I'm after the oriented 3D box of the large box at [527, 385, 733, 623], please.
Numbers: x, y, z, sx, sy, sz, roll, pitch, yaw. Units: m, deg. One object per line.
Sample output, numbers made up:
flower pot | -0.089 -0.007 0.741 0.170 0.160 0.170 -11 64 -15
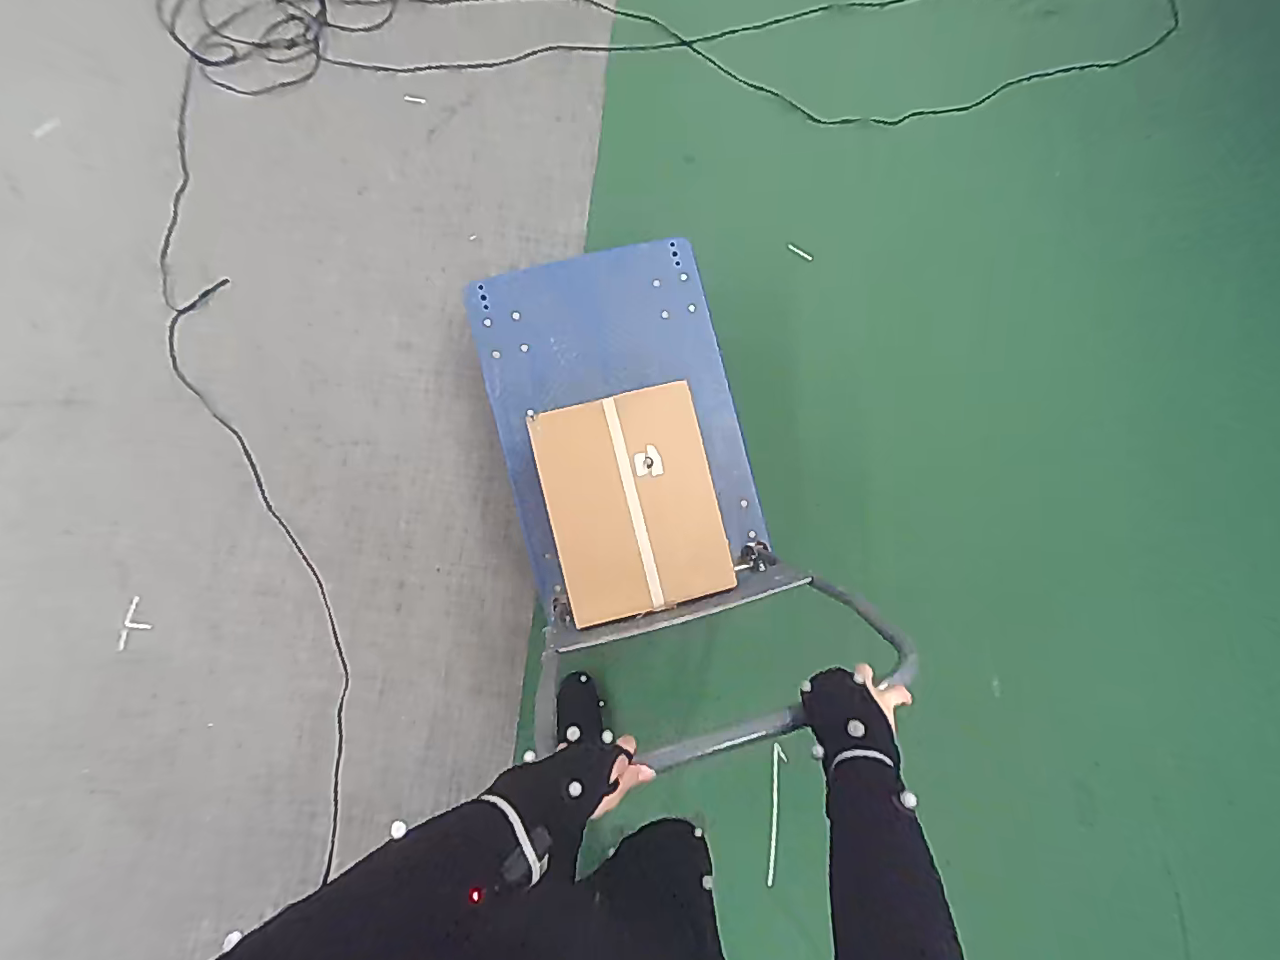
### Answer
large box | -0.026 0.053 1.180 0.320 0.320 0.408 -14 87 -5
